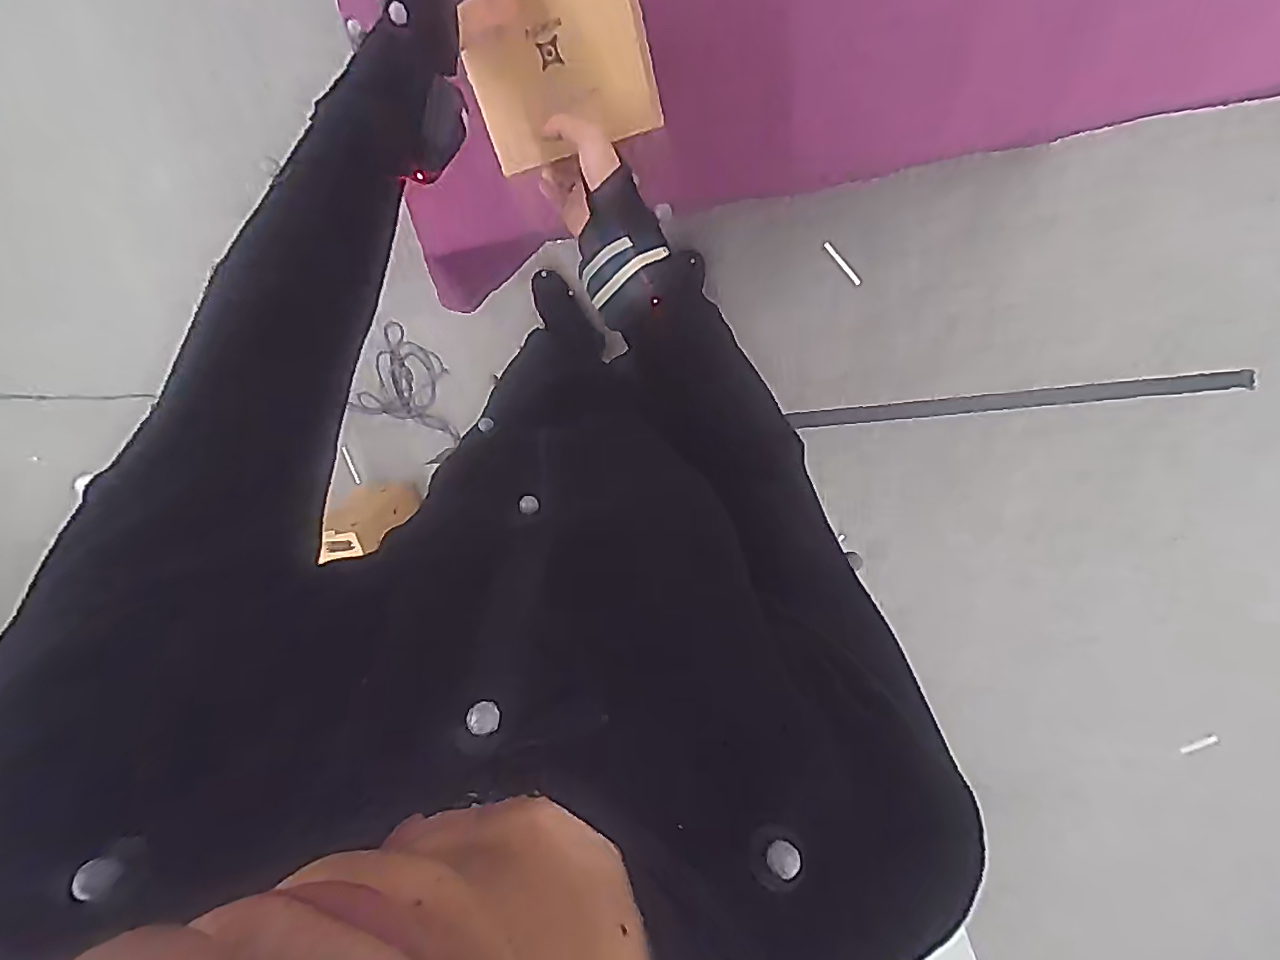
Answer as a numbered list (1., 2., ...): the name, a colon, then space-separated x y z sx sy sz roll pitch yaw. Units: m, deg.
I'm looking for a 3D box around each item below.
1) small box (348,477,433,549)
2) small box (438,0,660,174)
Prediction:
1. small box: -0.826 0.109 1.813 0.168 0.176 0.179 -6 116 12
2. small box: -0.080 -0.438 0.556 0.168 0.176 0.179 -9 123 13
